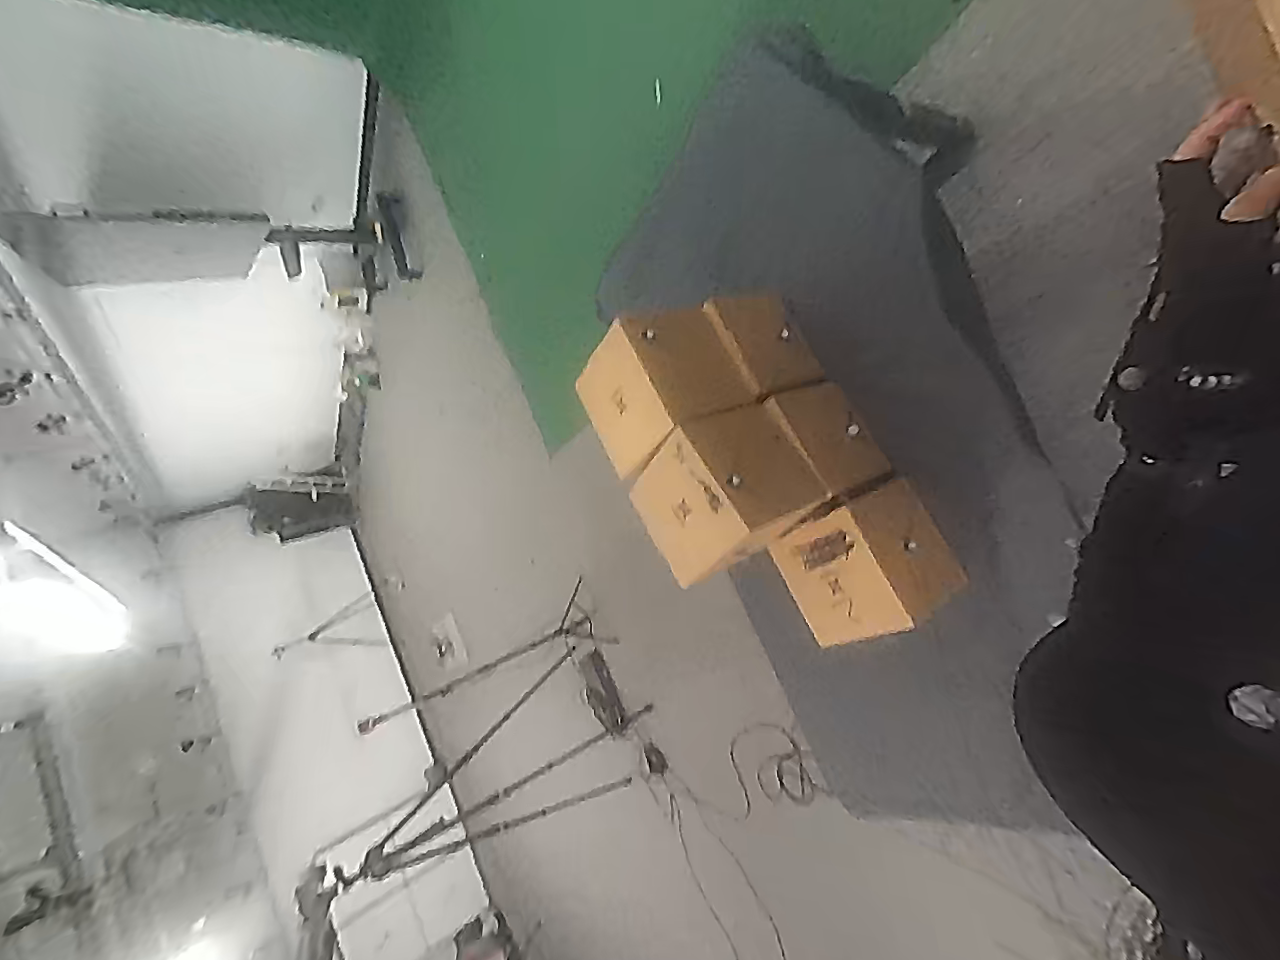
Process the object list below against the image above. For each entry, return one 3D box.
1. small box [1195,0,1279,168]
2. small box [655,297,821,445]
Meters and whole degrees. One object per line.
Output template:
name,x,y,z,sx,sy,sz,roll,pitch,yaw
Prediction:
small box,0.386,-0.264,0.240,0.168,0.176,0.179,-24,93,45
small box,0.162,-0.183,0.905,0.179,0.176,0.168,-42,72,51
